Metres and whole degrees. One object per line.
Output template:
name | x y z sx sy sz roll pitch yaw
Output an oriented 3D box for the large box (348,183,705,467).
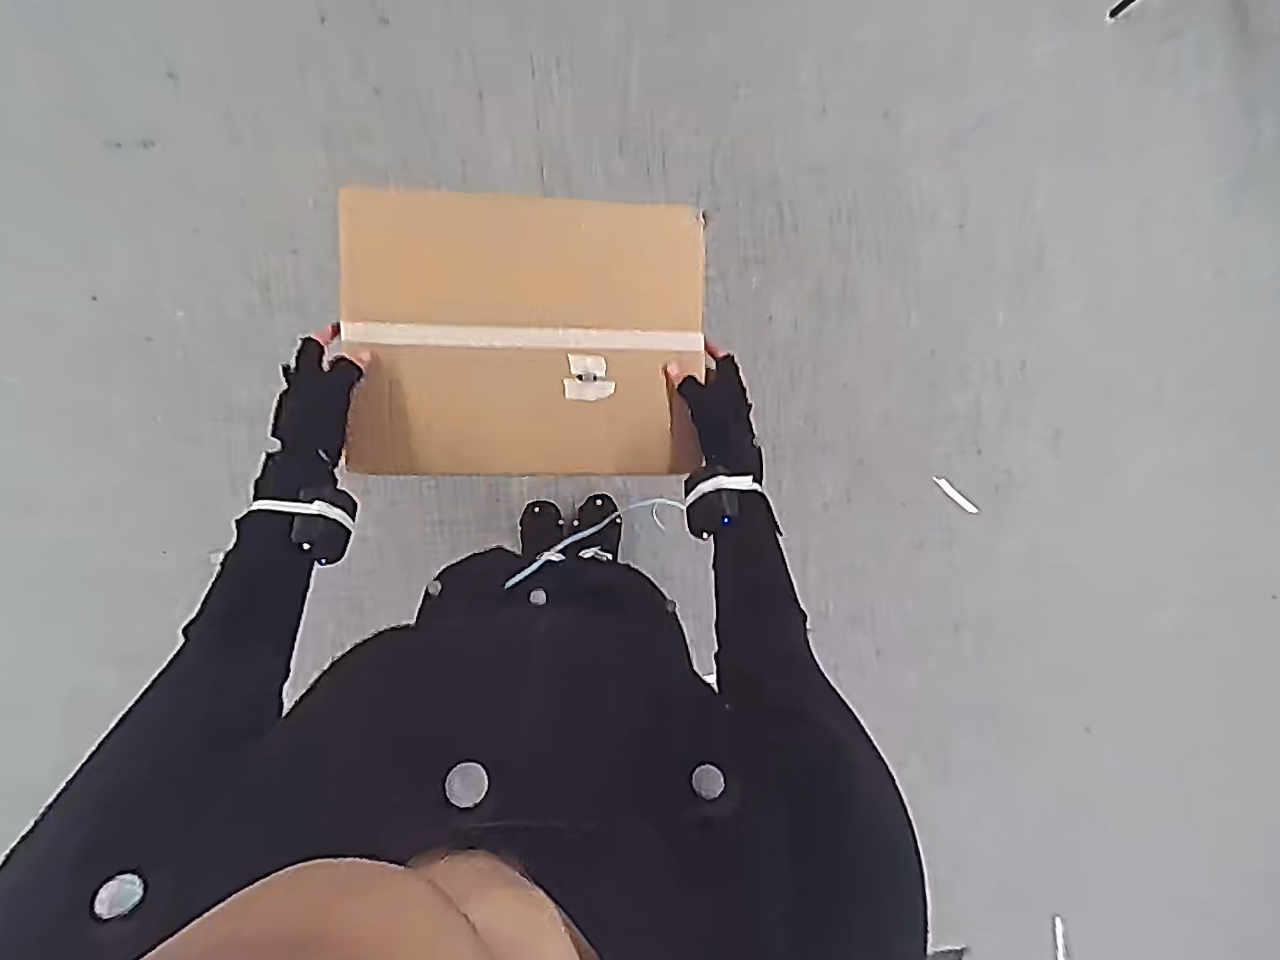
large box | -0.141 -0.181 0.767 0.408 0.320 0.320 0 94 -8
